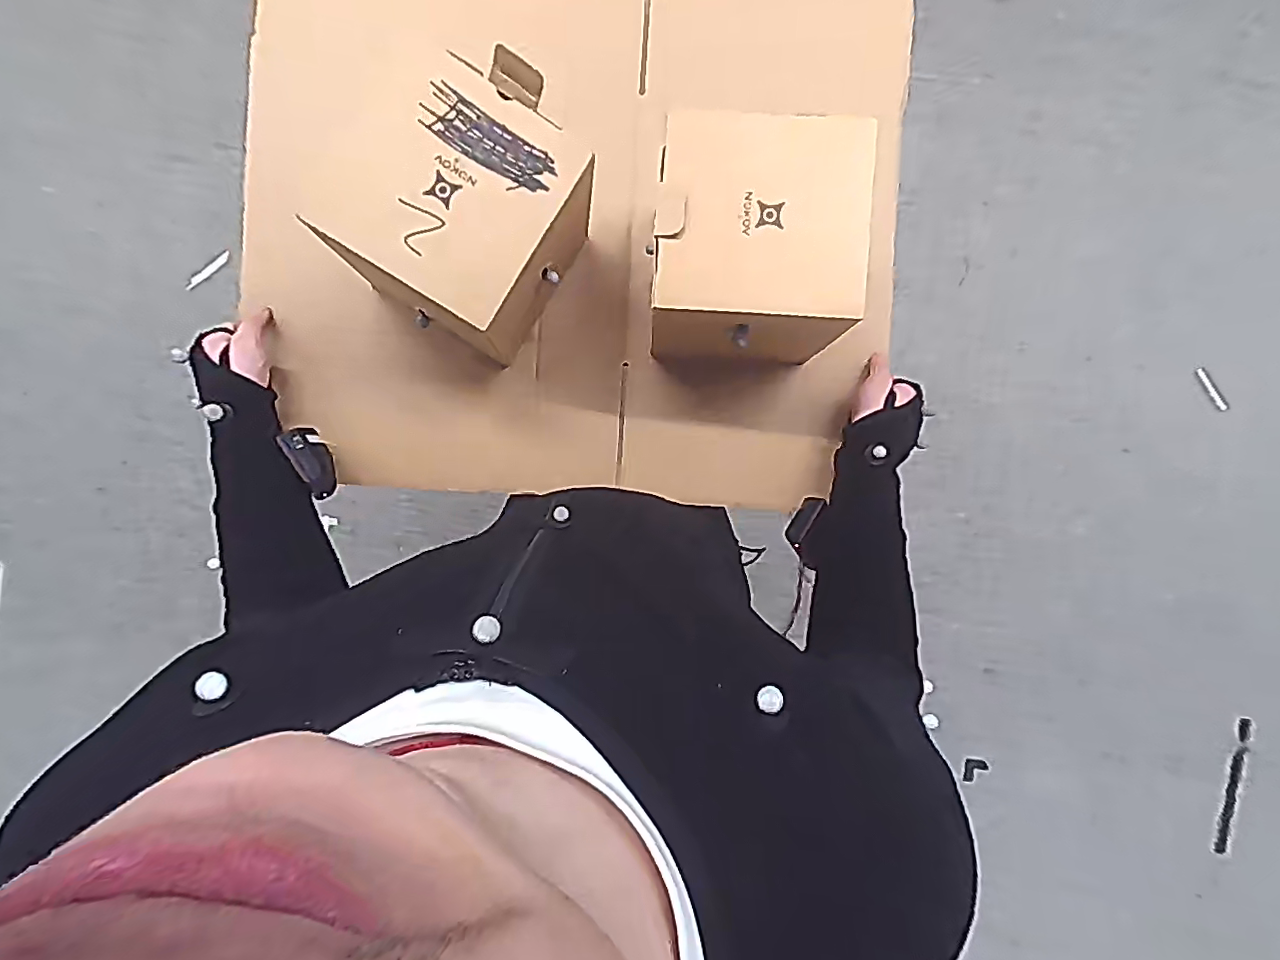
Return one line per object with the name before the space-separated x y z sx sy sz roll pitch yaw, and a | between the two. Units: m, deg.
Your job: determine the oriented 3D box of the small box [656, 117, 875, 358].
small box | 0.109 -0.222 0.539 0.179 0.176 0.168 3 90 2
